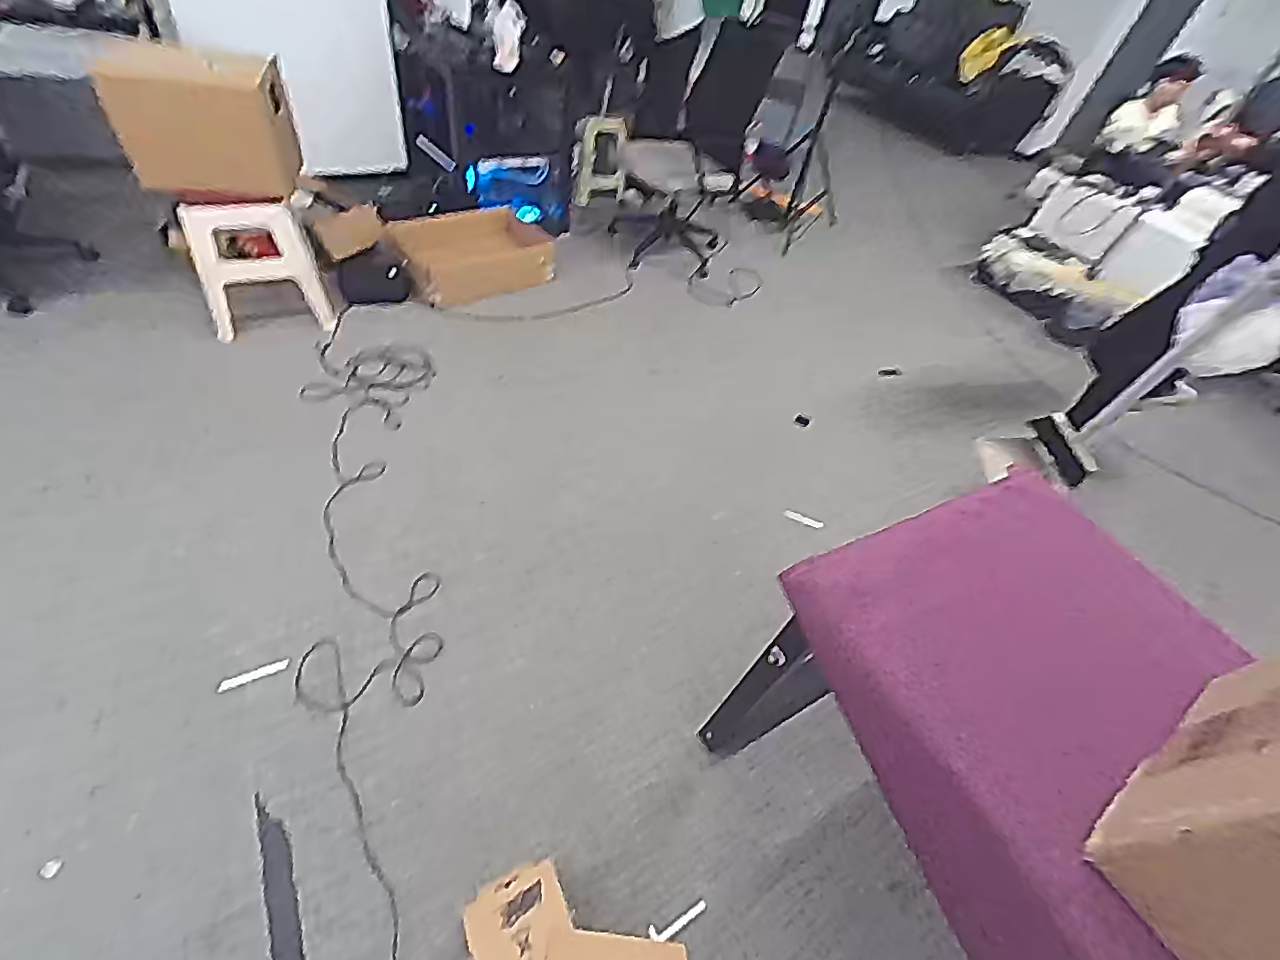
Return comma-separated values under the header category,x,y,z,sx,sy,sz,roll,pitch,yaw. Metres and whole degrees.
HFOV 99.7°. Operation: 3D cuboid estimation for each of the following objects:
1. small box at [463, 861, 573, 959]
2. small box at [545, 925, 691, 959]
category,x,y,z,sx,sy,sz,roll,pitch,yaw
small box,-0.208,0.827,0.964,0.168,0.176,0.179,-16,54,-24
small box,-0.037,0.627,0.567,0.168,0.176,0.179,11,14,-4
